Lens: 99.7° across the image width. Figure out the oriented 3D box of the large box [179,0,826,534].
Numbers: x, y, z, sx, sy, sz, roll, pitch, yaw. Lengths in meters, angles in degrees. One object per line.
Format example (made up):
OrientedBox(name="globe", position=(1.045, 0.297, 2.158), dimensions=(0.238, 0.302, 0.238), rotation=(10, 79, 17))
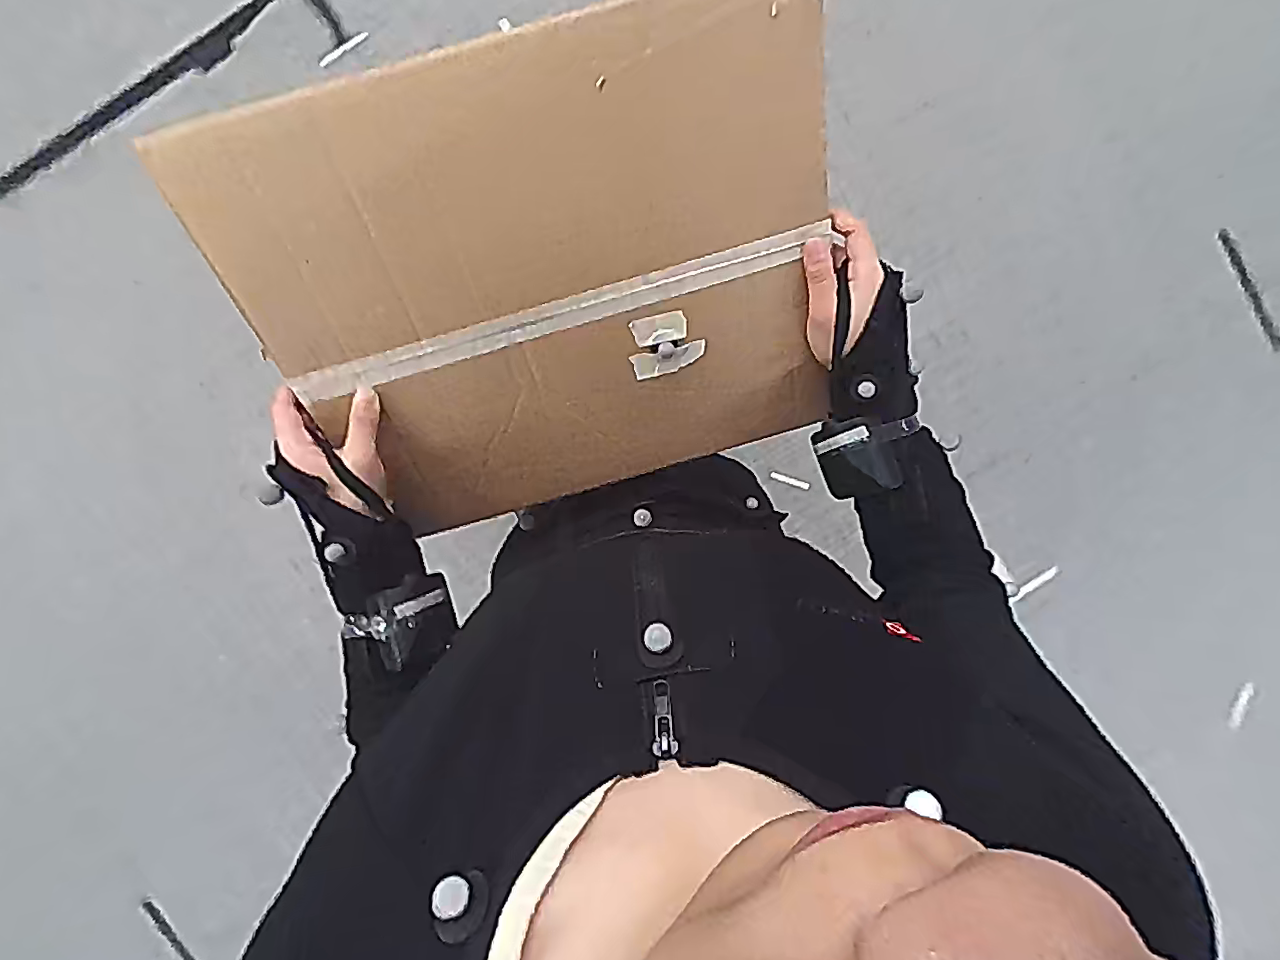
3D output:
OrientedBox(name="large box", position=(-0.082, -0.207, 0.529), dimensions=(0.408, 0.320, 0.320), rotation=(-17, 126, -1))
